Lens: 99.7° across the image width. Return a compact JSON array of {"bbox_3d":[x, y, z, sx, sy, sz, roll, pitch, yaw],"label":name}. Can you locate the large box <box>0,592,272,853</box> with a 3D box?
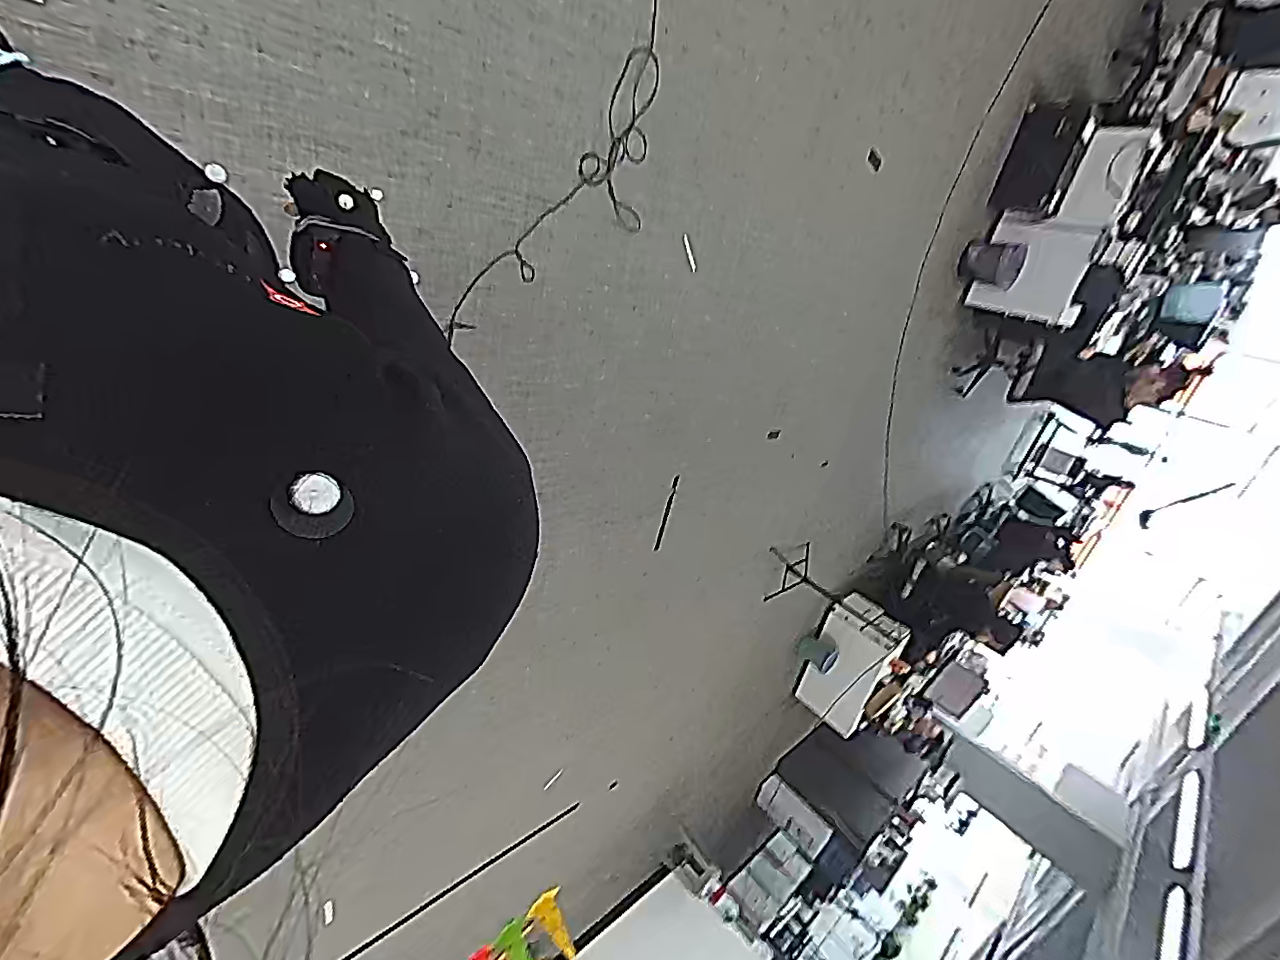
[{"bbox_3d":[-1.139,0.522,1.246,0.408,0.320,0.320,-16,125,-37],"label":"large box"}]
